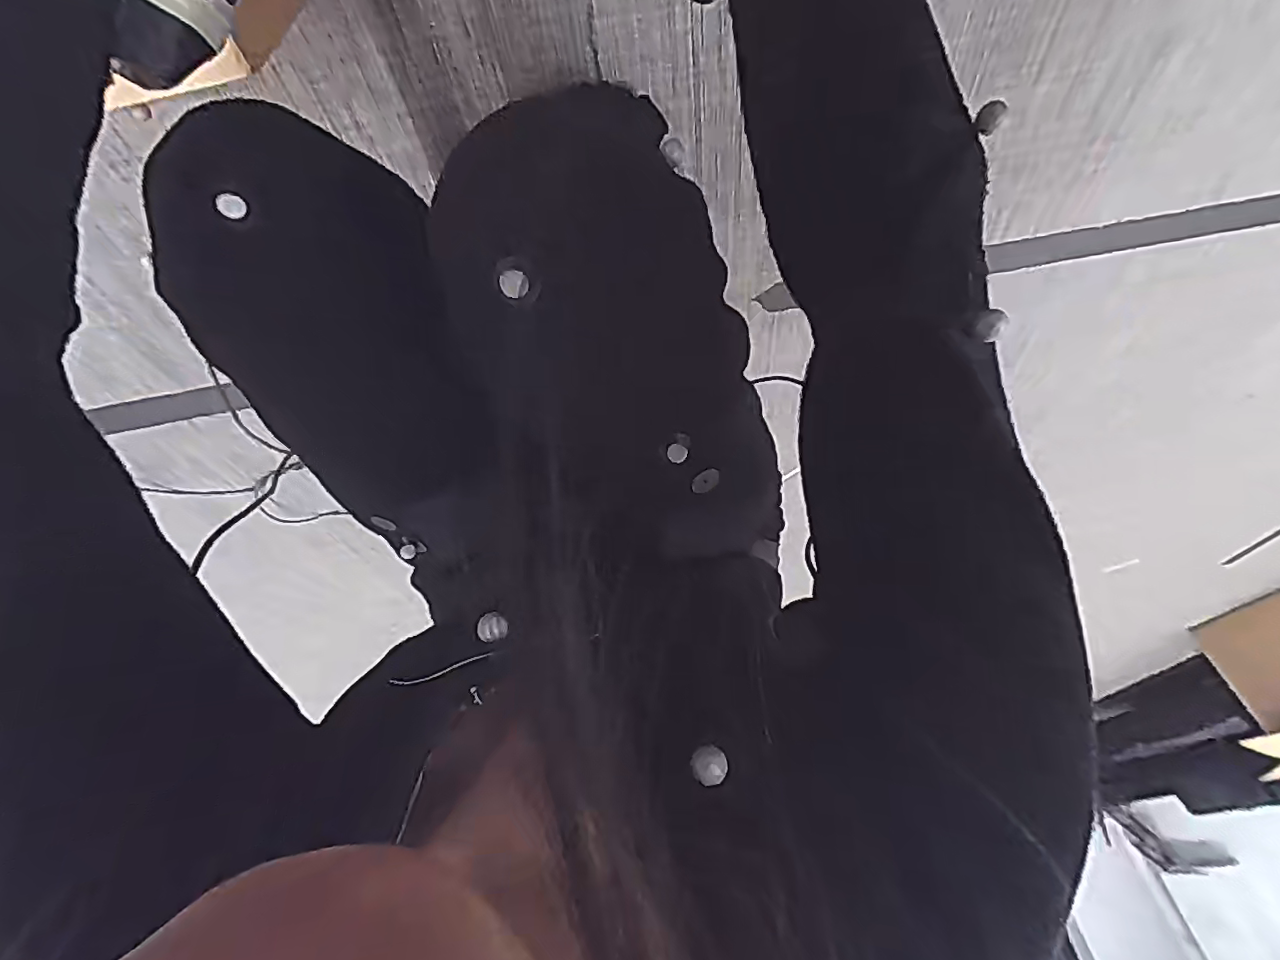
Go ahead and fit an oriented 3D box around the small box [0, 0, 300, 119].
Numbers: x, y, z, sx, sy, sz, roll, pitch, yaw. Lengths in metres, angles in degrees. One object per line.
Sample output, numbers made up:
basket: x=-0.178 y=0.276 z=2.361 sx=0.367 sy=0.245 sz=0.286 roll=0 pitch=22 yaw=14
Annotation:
small box: x=-0.358 y=-0.369 z=0.340 sx=0.168 sy=0.176 sz=0.179 roll=-11 pitch=143 yaw=1
